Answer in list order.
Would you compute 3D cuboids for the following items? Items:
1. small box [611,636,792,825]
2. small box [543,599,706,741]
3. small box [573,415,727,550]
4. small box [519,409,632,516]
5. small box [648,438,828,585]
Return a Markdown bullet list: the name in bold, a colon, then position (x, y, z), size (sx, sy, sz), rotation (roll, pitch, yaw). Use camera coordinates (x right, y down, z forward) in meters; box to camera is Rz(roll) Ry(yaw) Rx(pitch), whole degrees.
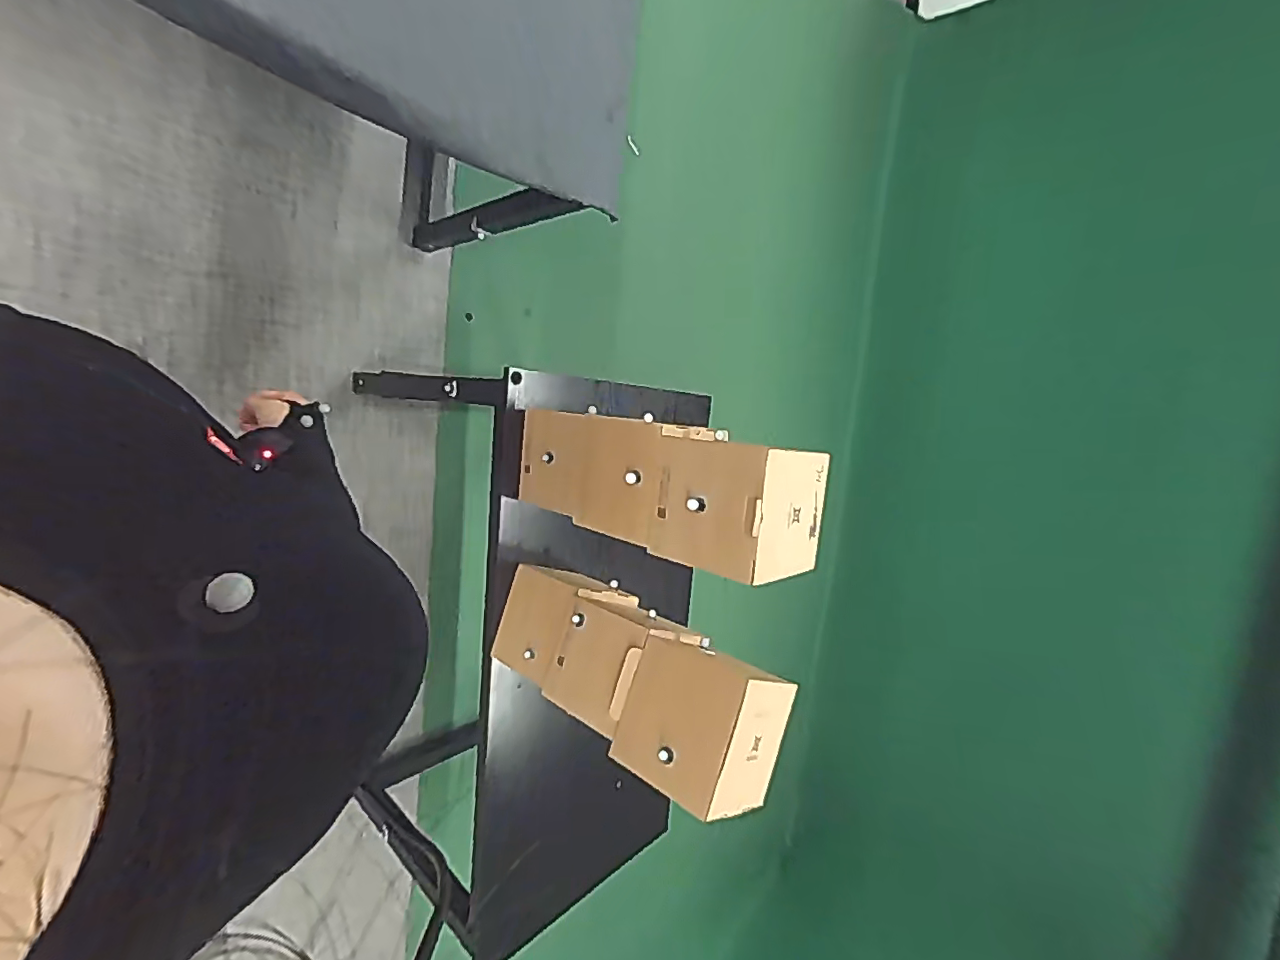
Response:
- **small box**: position (0.084, 0.339, 0.757), size (0.168, 0.176, 0.179), rotation (29, 77, -49)
- **small box**: position (-0.026, 0.300, 0.872), size (0.179, 0.176, 0.168), rotation (26, 80, -48)
- **small box**: position (0.012, -0.002, 0.844), size (0.168, 0.176, 0.179), rotation (-1, 100, -47)
- **small box**: position (-0.095, -0.034, 0.963), size (0.179, 0.176, 0.168), rotation (-1, 101, -48)
- **small box**: position (0.131, 0.034, 0.736), size (0.179, 0.176, 0.168), rotation (1, 98, -47)
